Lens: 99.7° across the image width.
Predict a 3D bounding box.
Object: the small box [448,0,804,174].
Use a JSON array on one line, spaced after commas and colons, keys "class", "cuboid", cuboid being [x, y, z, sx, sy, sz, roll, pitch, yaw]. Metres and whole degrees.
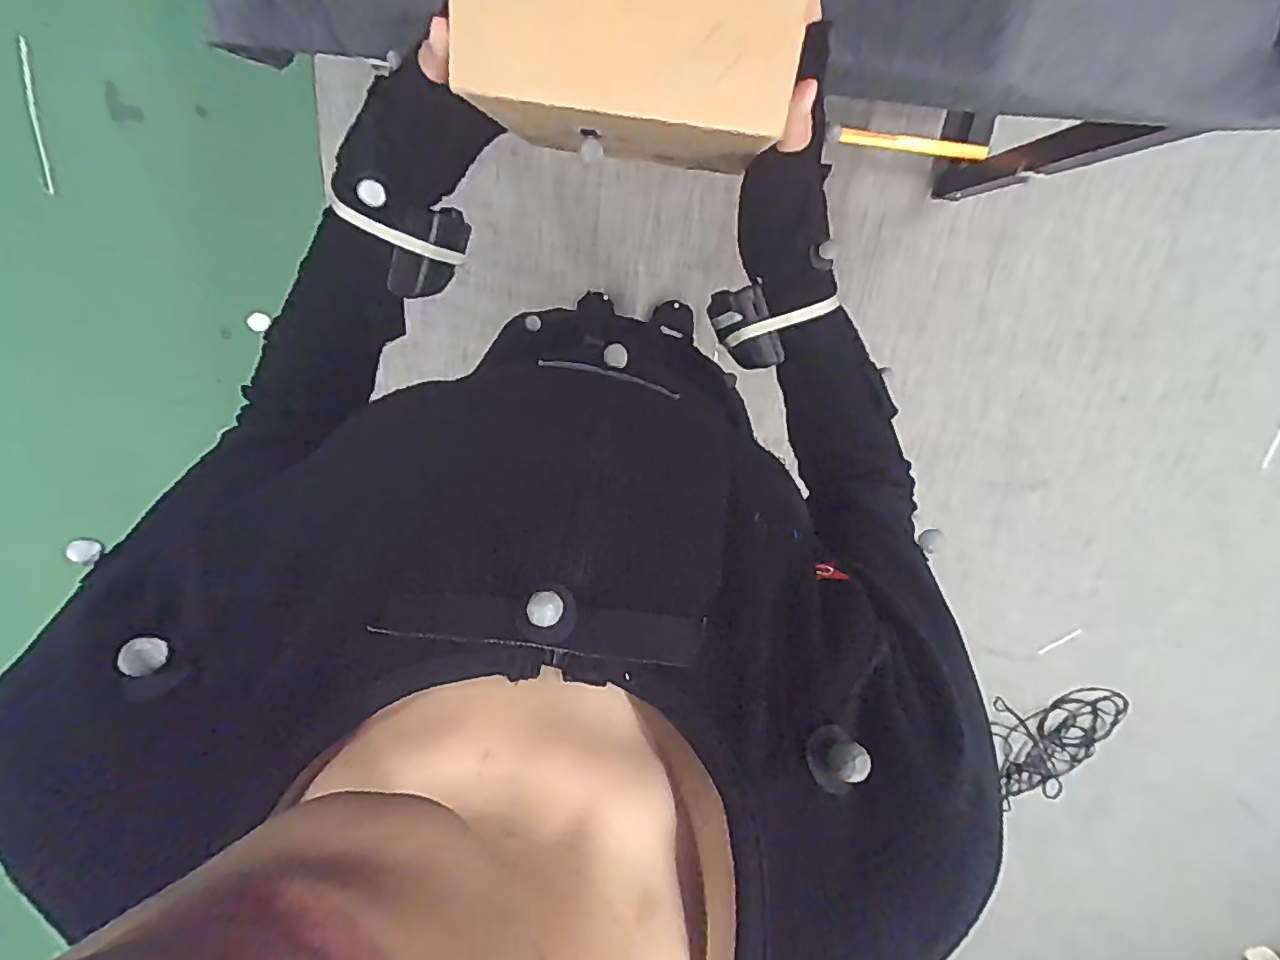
[{"class": "small box", "cuboid": [0.004, -0.287, 0.303, 0.168, 0.176, 0.179, 8, 112, 0]}]
